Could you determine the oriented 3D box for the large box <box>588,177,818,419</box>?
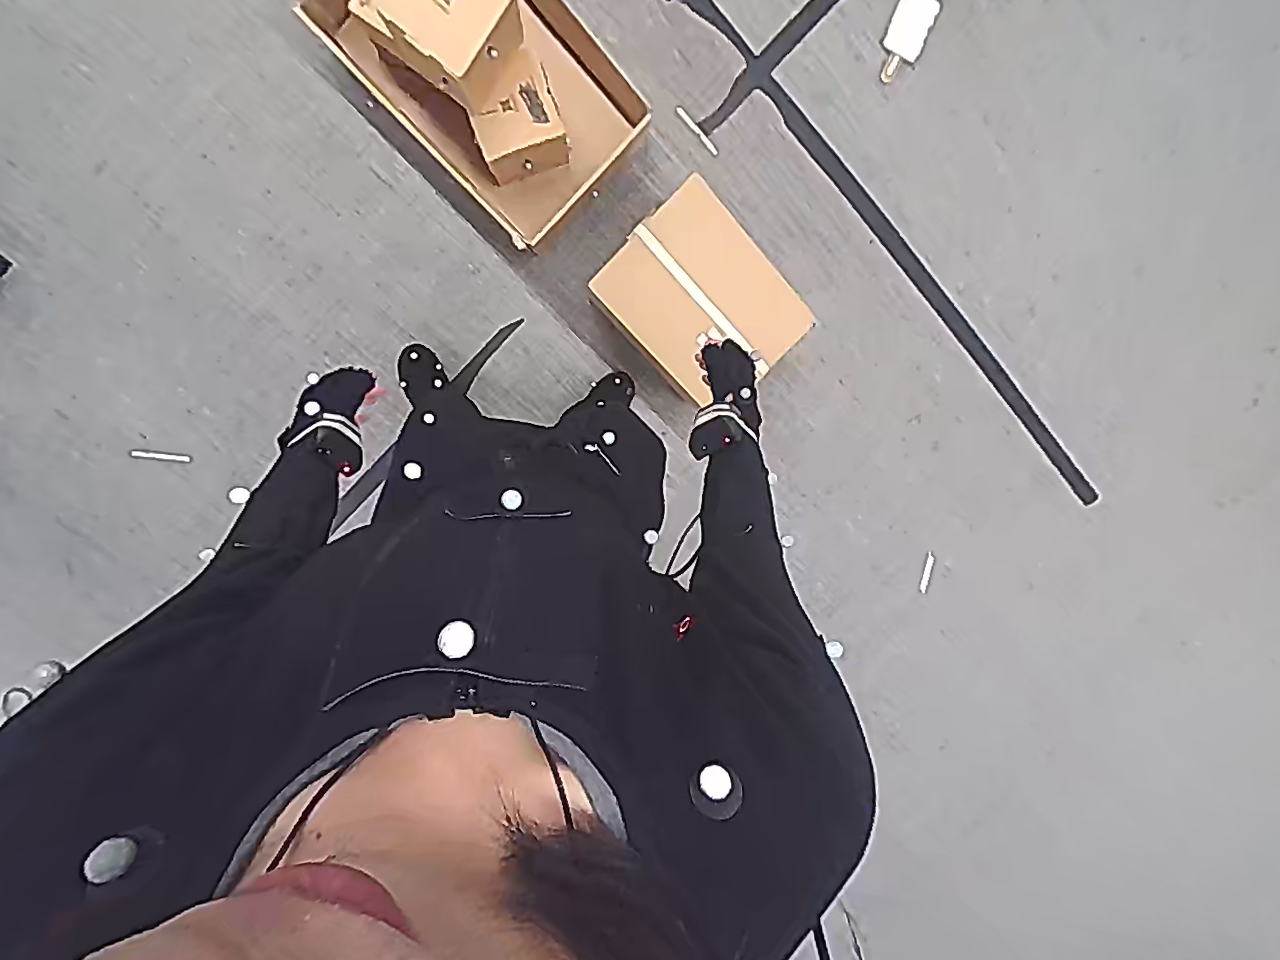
[{"bbox_3d":[0.125,-0.409,1.277,0.320,0.320,0.408,-44,106,7],"label":"large box"}]

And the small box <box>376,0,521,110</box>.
[{"bbox_3d":[-0.328,-0.819,0.969,0.168,0.176,0.179,36,98,-15],"label":"small box"}]
